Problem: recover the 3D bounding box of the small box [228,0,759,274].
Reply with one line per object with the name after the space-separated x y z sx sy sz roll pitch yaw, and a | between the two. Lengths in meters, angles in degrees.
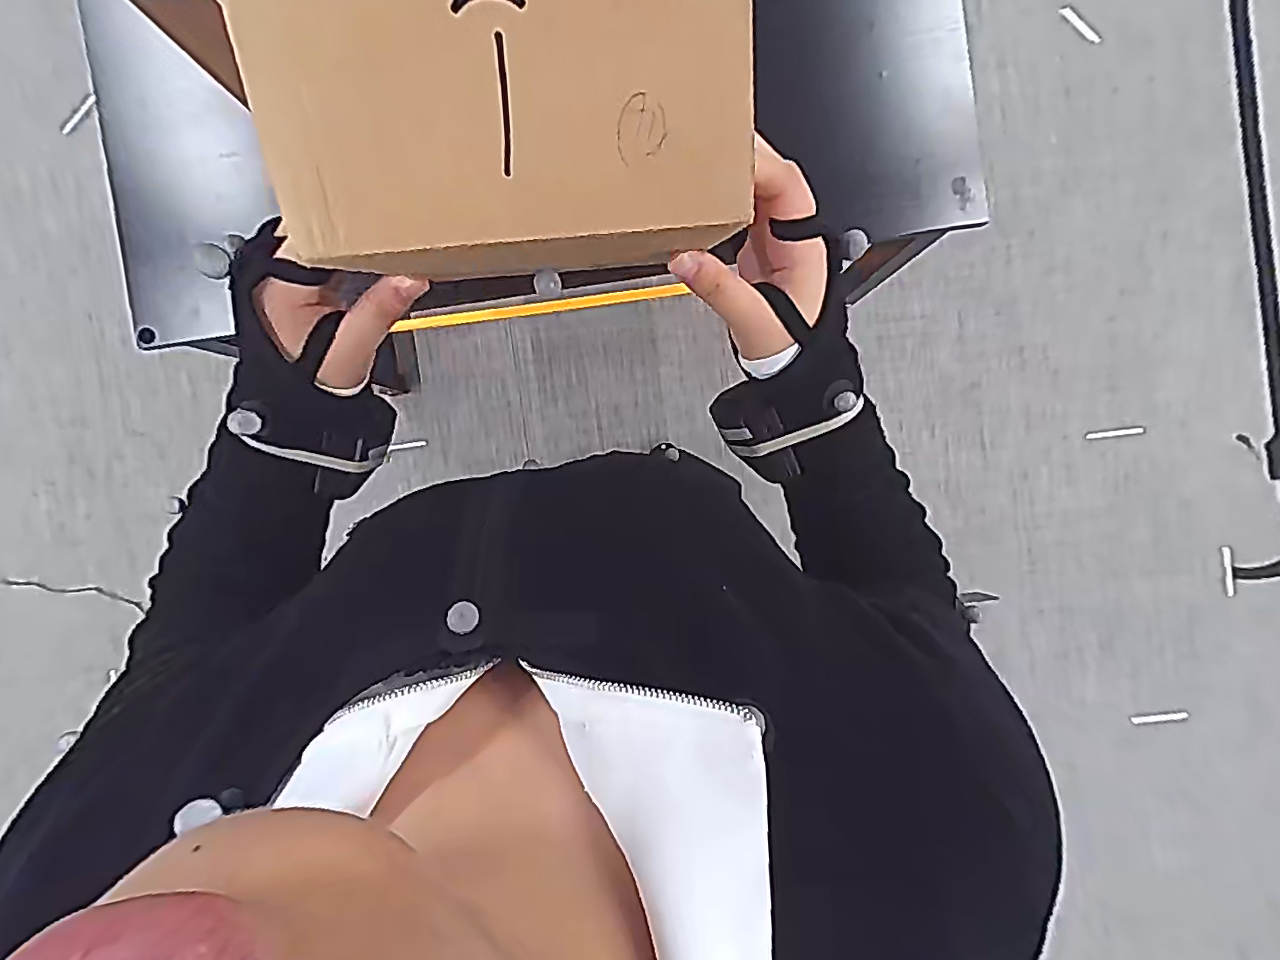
-0.049 -0.193 0.239 0.168 0.176 0.179 -5 109 -2 | small box
